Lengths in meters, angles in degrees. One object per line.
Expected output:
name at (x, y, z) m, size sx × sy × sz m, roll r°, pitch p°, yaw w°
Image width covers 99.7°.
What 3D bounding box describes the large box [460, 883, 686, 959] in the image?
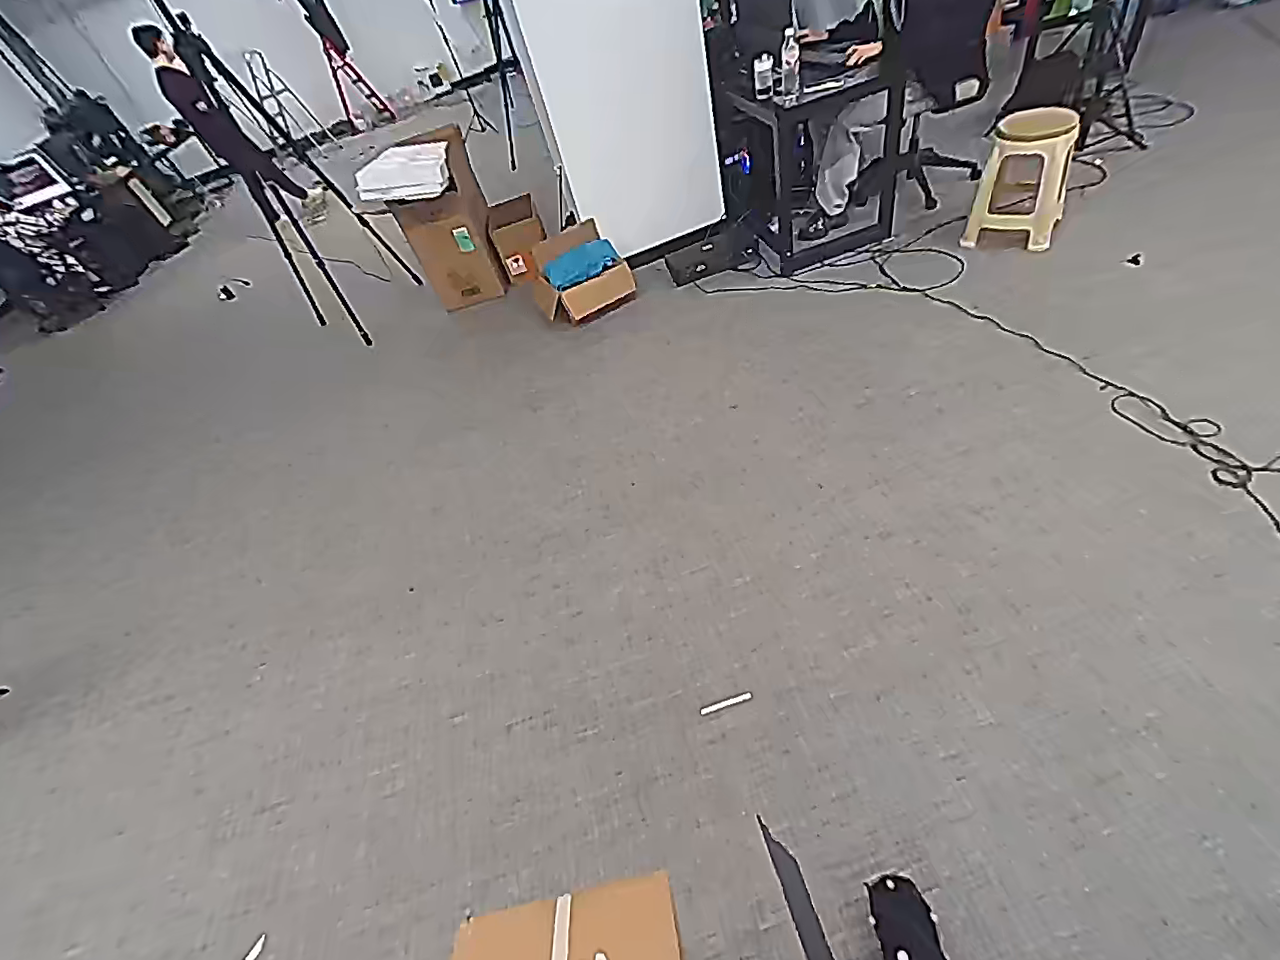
large box at (-0.061, 0.796, 0.621) m, size 0.320 × 0.320 × 0.408 m, roll -10°, pitch 6°, yaw -3°
